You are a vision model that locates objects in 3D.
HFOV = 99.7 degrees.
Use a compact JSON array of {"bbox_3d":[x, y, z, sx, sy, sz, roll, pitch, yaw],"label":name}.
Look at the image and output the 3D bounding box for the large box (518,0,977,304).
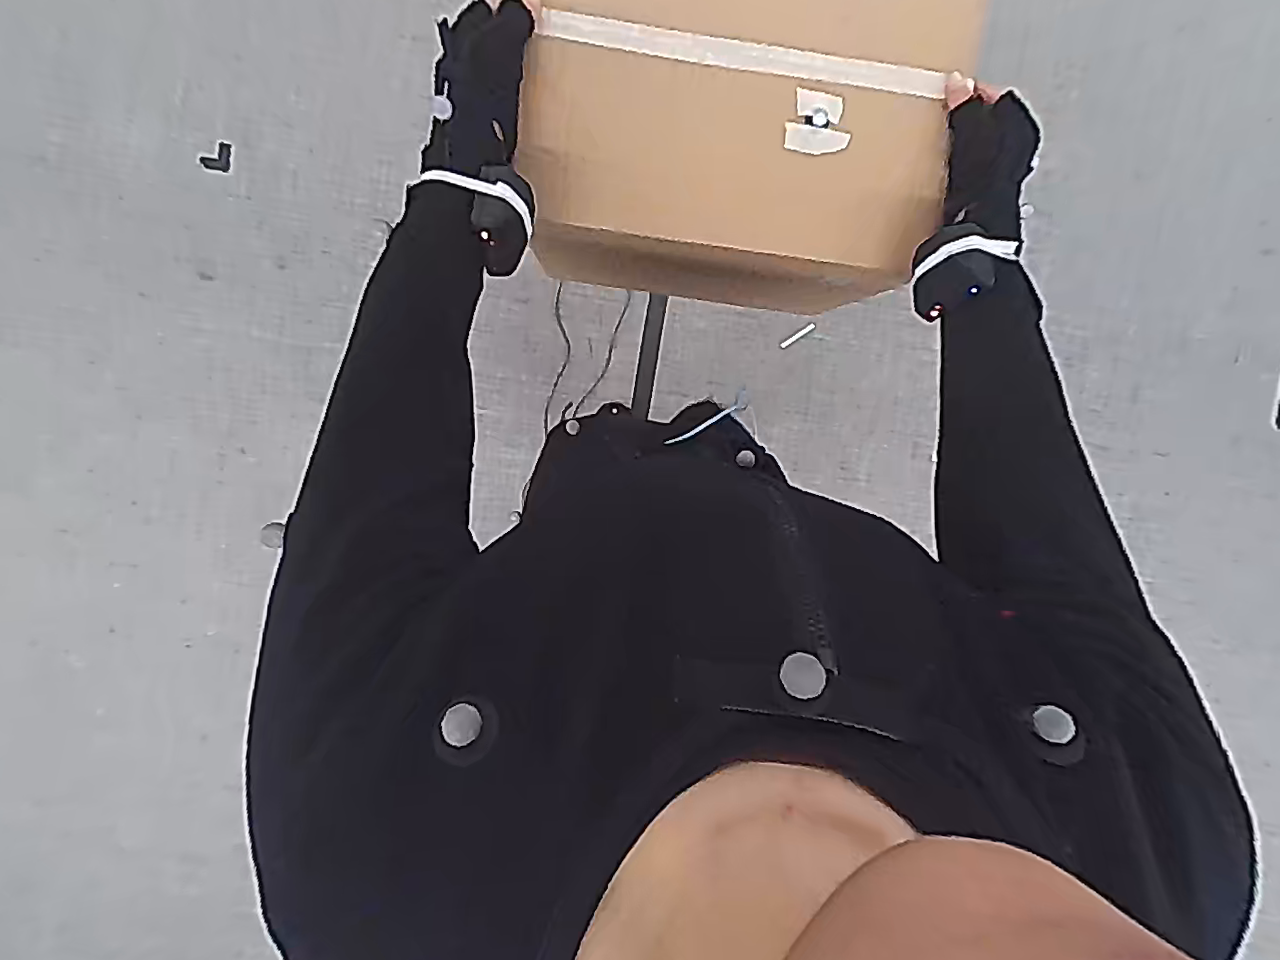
[{"bbox_3d":[0.088,-0.406,0.632,0.408,0.320,0.320,6,101,-4],"label":"large box"}]
